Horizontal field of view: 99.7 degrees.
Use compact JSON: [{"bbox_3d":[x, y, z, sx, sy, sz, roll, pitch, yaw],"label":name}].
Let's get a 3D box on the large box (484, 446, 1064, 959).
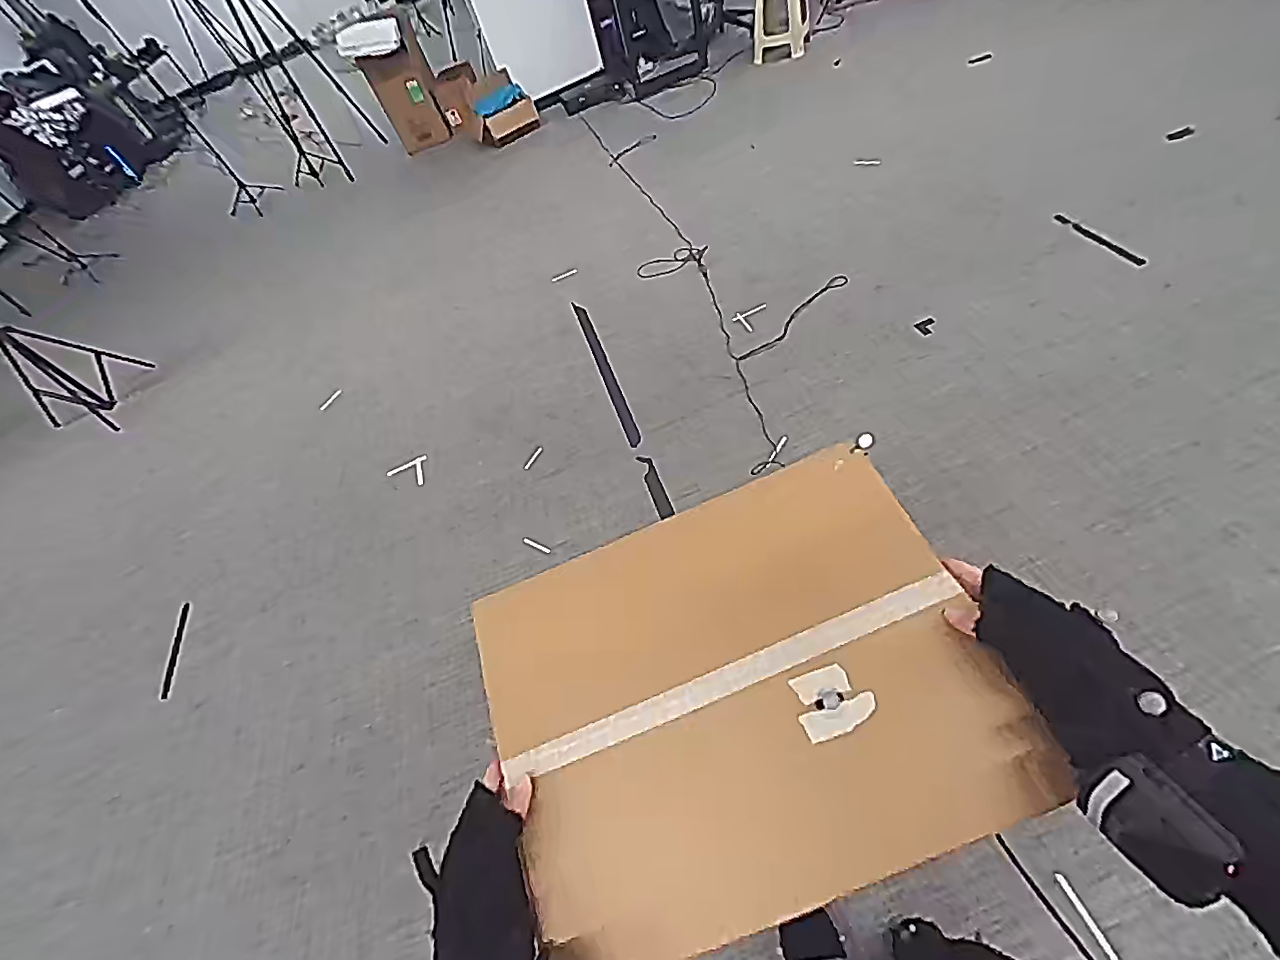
[{"bbox_3d":[0.104,0.235,0.590,0.408,0.320,0.320,-23,60,0],"label":"large box"}]
